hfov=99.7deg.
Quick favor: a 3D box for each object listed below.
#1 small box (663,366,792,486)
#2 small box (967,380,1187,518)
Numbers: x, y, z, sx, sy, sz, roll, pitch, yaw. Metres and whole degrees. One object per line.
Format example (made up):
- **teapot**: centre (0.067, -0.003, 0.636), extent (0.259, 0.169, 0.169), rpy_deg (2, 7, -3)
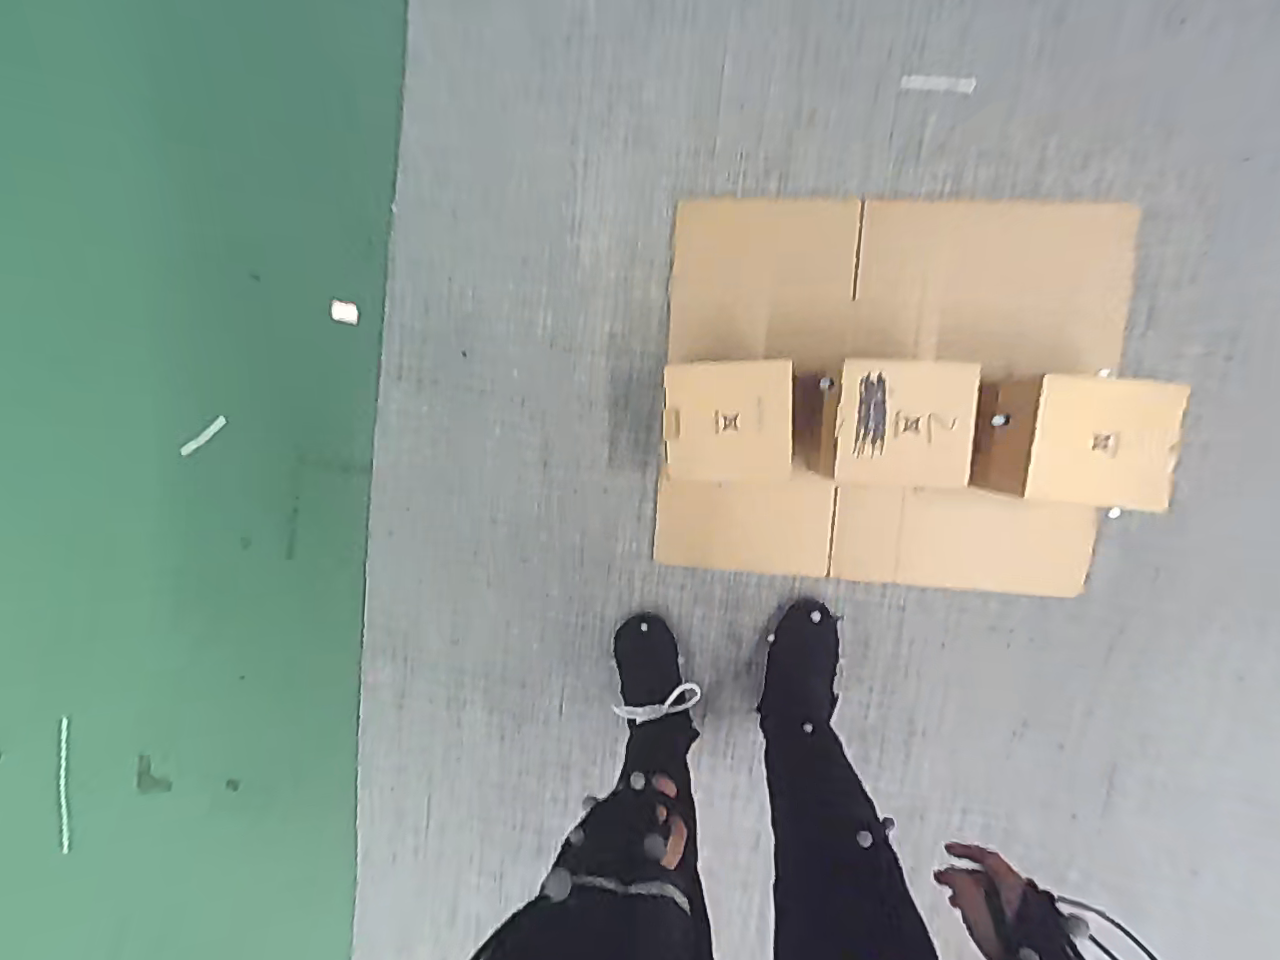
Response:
- **small box**: centre (0.130, -0.080, 0.825), extent (0.179, 0.176, 0.168), rpy_deg (-1, 96, 6)
- **small box**: centre (0.602, -0.045, 0.772), extent (0.179, 0.176, 0.168), rpy_deg (6, 95, 6)
